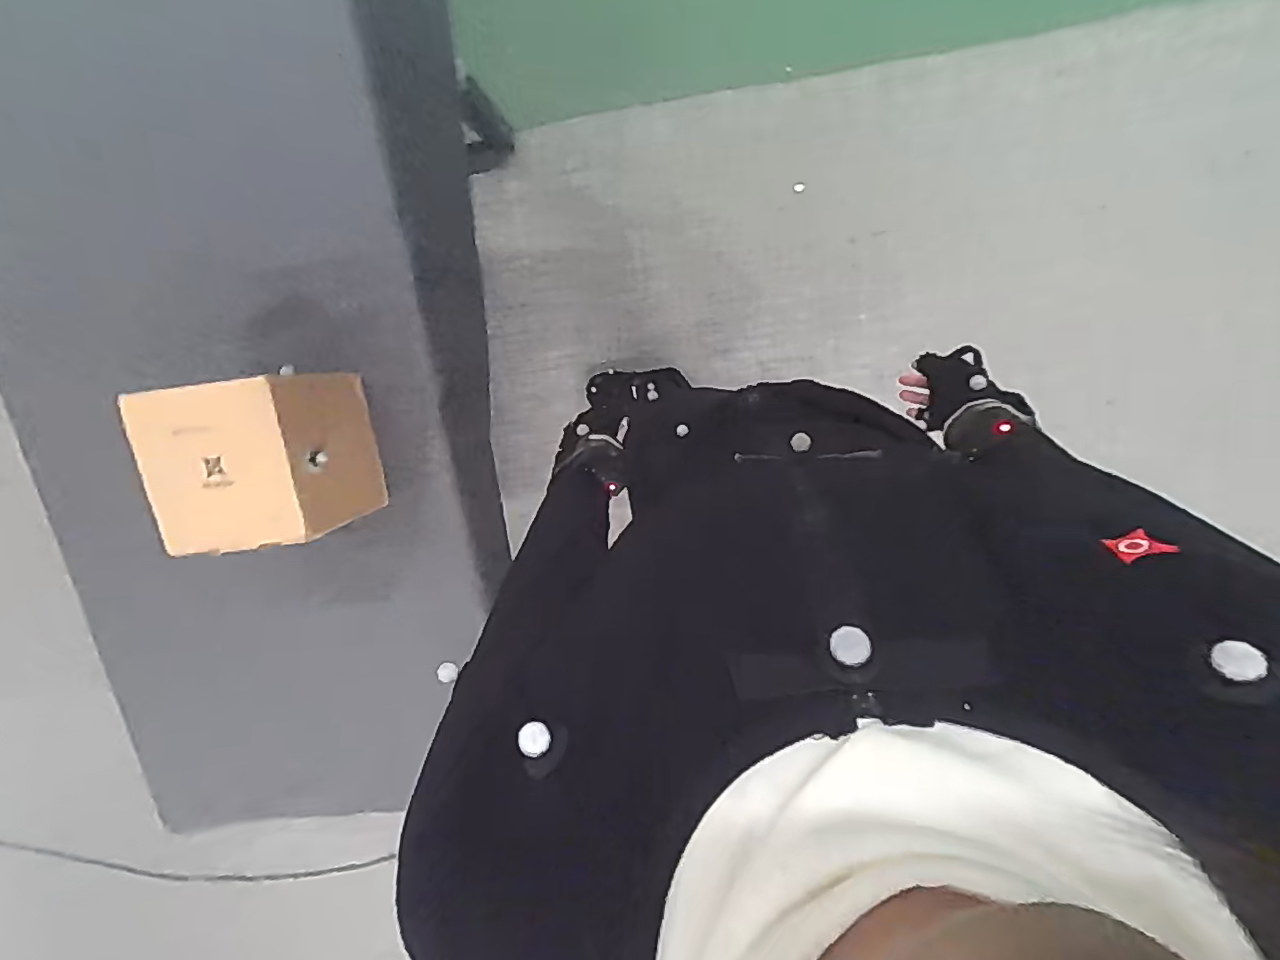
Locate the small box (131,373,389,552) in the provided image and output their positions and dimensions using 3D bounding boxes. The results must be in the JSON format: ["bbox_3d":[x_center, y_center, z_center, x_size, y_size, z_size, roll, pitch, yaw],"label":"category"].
[{"bbox_3d":[-0.431,-0.029,0.648,0.168,0.176,0.179,-7,101,5],"label":"small box"}]
